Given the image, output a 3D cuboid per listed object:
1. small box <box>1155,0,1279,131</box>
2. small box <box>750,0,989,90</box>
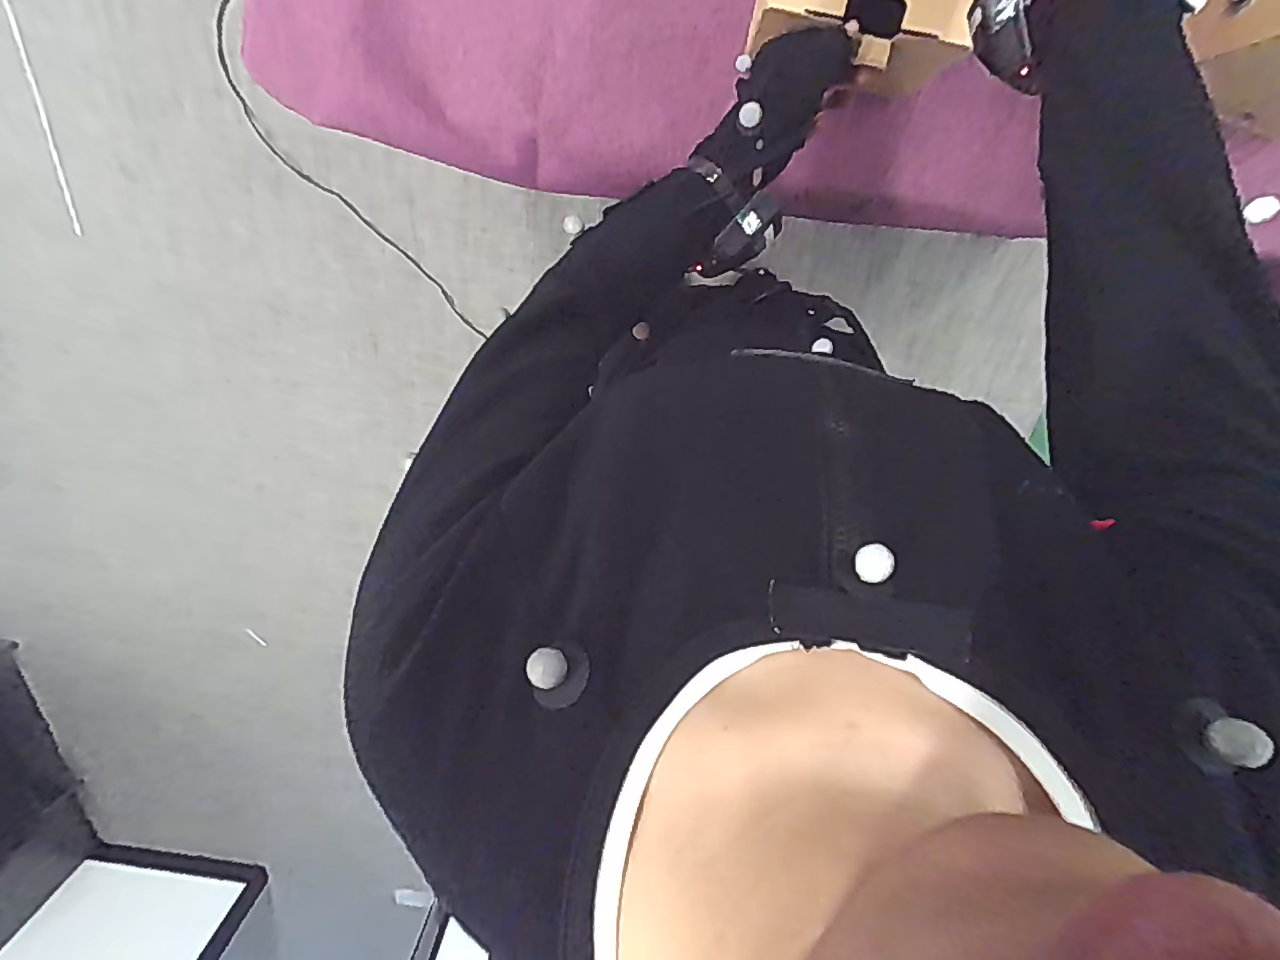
[{"bbox_3d":[0.579,-0.405,0.426,0.168,0.176,0.179,18,115,-3],"label":"small box"},{"bbox_3d":[0.192,-0.448,0.441,0.168,0.176,0.179,11,115,0],"label":"small box"}]
